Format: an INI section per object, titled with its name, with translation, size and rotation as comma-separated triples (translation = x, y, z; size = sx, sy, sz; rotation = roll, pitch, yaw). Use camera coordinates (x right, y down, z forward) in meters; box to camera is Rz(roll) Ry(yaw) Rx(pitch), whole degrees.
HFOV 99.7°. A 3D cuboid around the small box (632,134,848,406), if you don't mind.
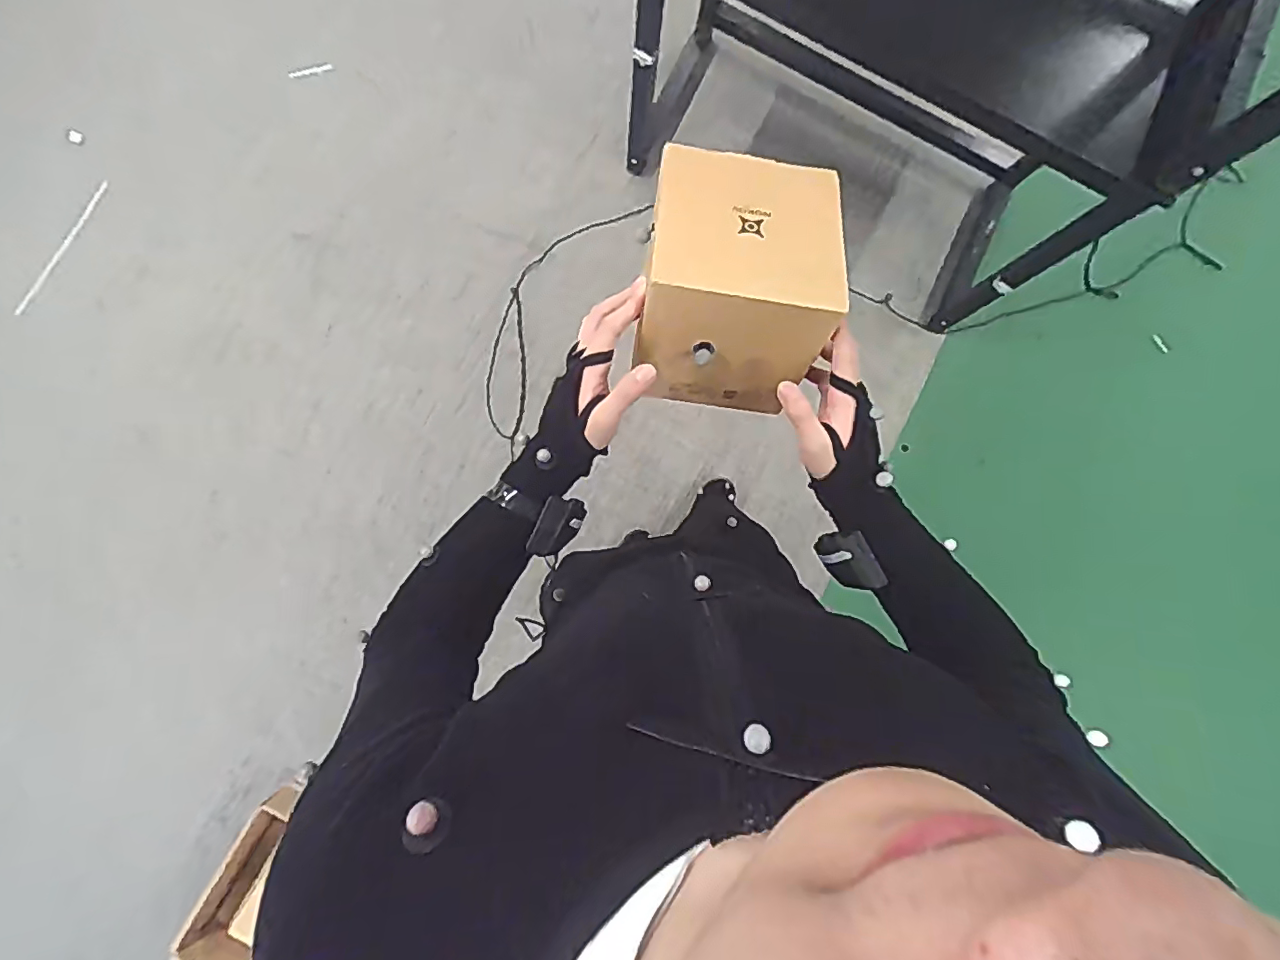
[small box]
translation = 0.085, -0.193, 0.532
size = 0.168, 0.176, 0.179
rotation = 7, 65, -4
